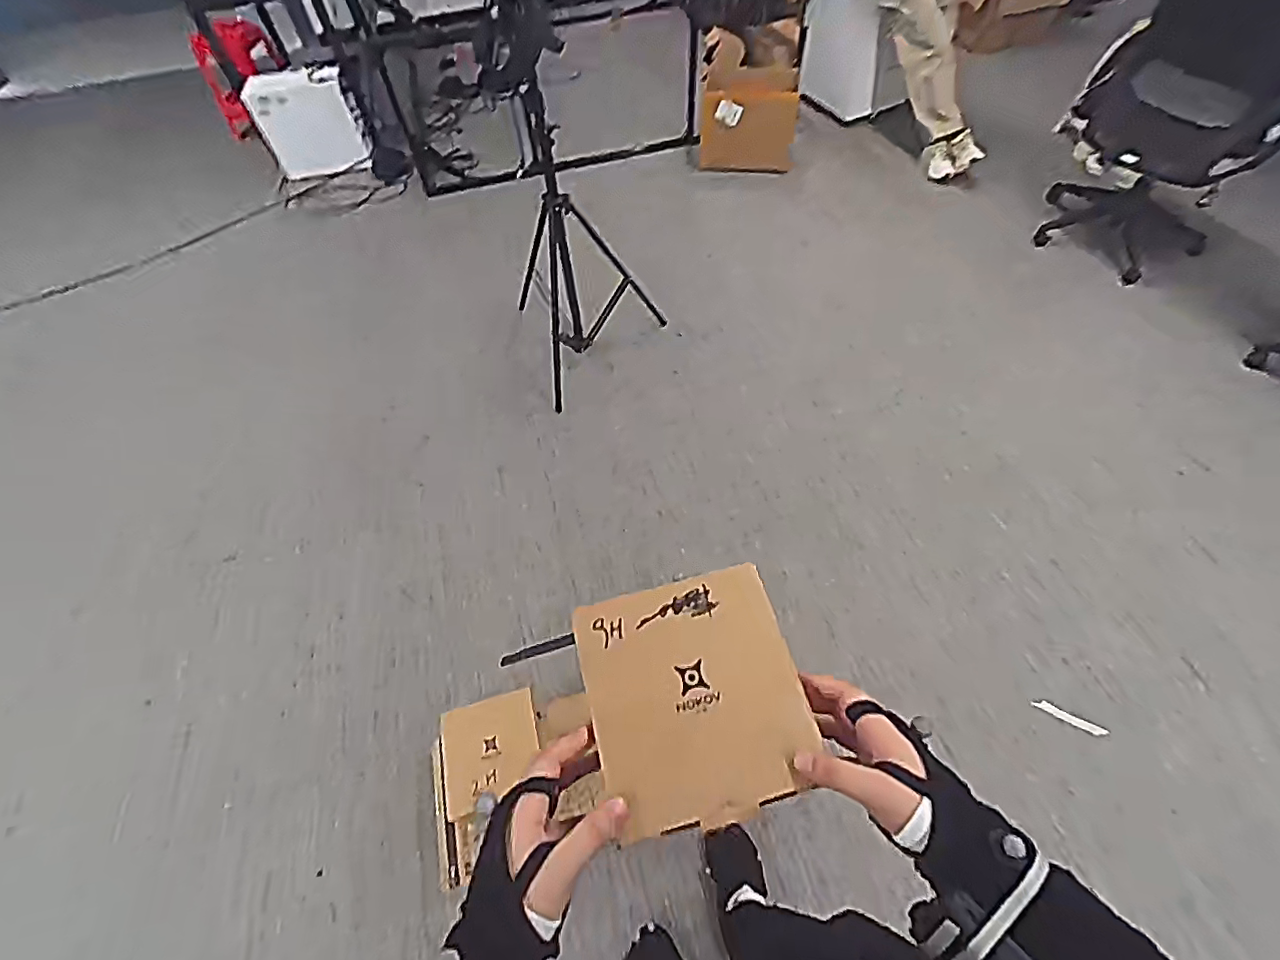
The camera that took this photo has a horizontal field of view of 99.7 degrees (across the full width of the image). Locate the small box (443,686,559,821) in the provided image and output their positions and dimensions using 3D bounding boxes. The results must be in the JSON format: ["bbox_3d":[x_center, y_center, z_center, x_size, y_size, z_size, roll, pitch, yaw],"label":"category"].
[{"bbox_3d":[-0.256,0.512,1.008,0.168,0.176,0.179,-14,56,-6],"label":"small box"}]

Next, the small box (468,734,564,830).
[{"bbox_3d":[-0.265,0.615,1.138,0.168,0.176,0.179,-16,57,-7],"label":"small box"}]
